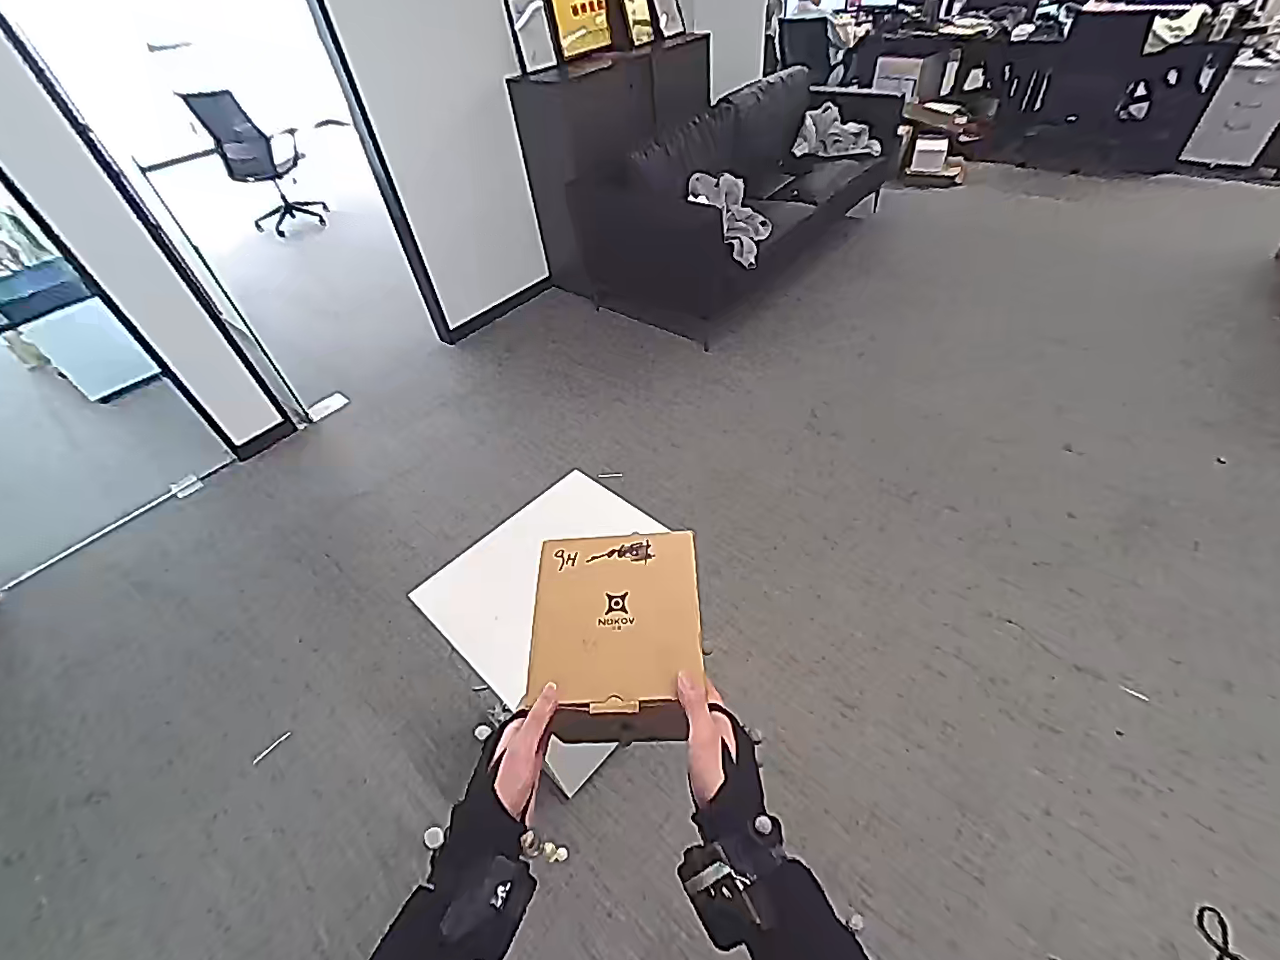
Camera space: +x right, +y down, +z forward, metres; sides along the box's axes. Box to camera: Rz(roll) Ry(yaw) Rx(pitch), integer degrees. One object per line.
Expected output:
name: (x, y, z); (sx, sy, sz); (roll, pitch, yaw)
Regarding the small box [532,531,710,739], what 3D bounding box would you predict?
small box: (-0.013, 0.180, 0.602); (0.168, 0.176, 0.179); (-6, 53, 3)
